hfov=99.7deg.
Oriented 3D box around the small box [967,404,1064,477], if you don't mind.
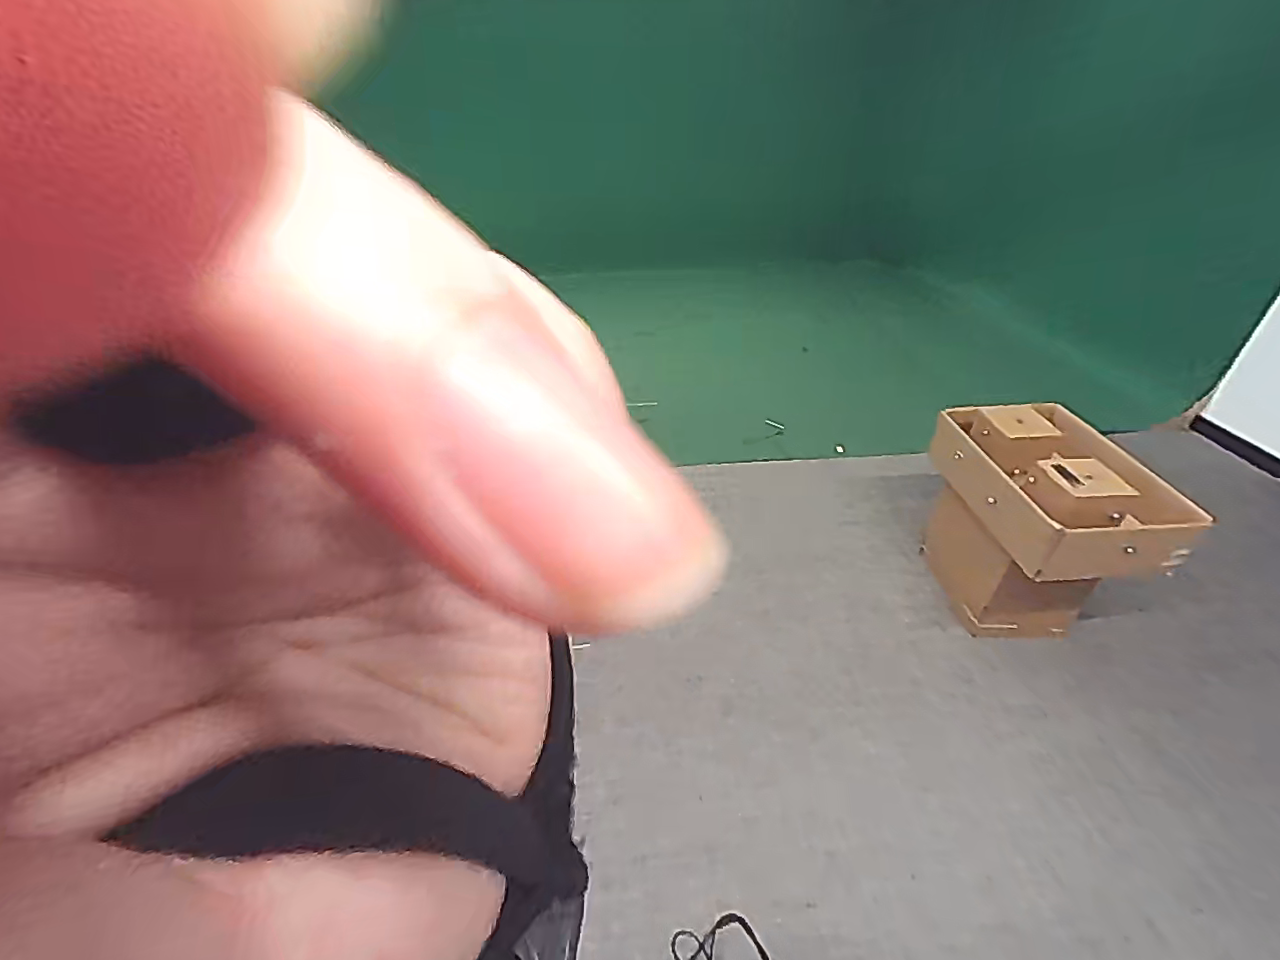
[{"bbox_3d":[1.183,-0.125,1.722,0.168,0.176,0.179,-3,38,1],"label":"small box"}]
